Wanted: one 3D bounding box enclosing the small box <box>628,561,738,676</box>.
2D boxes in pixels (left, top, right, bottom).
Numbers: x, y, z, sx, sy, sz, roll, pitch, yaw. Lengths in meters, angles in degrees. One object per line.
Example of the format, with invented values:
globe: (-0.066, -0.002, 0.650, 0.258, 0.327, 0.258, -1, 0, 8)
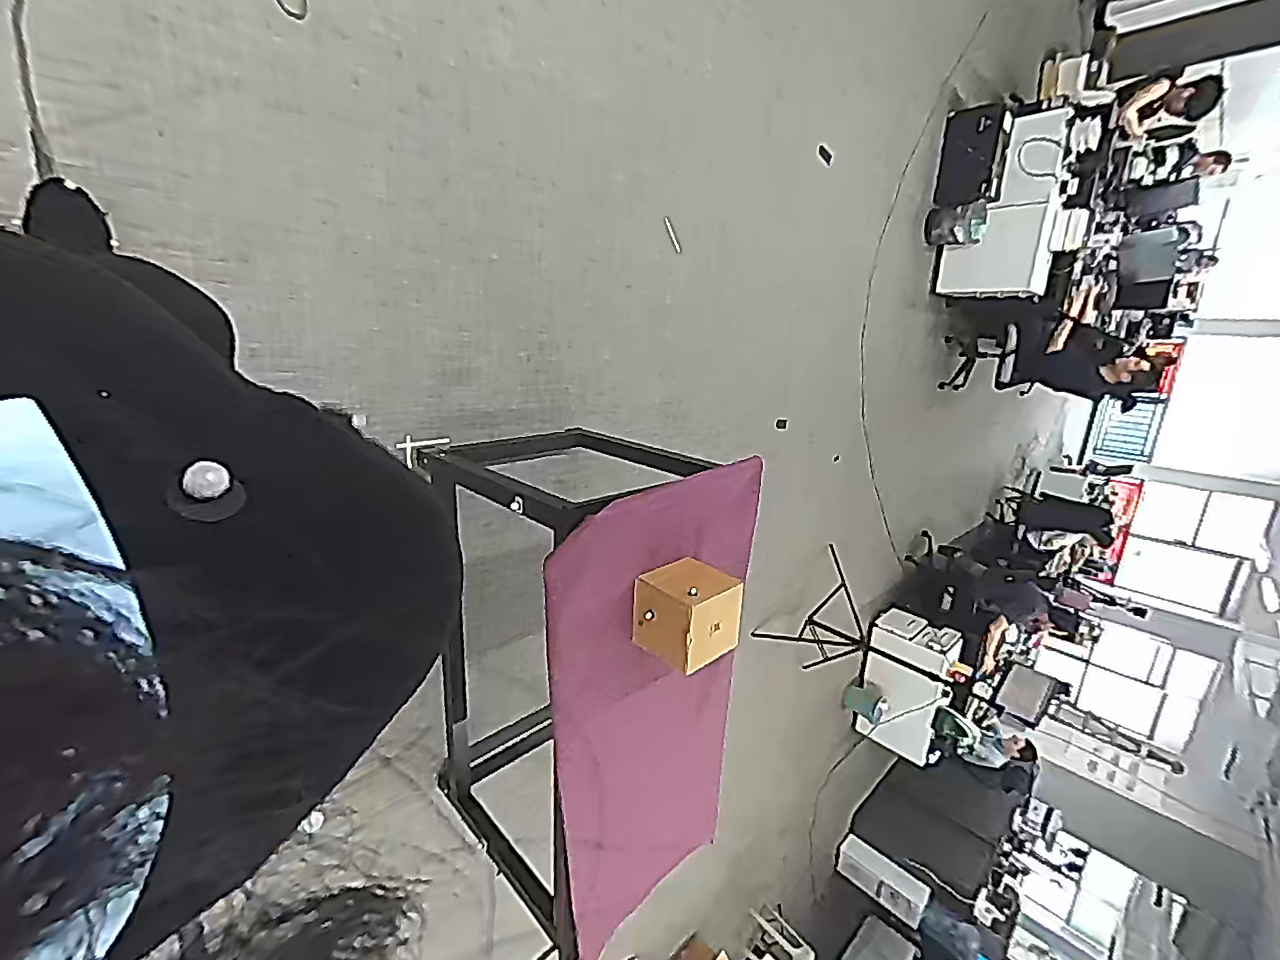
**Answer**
small box: (0.094, 0.298, 1.212, 0.179, 0.176, 0.168, -13, 113, -41)
